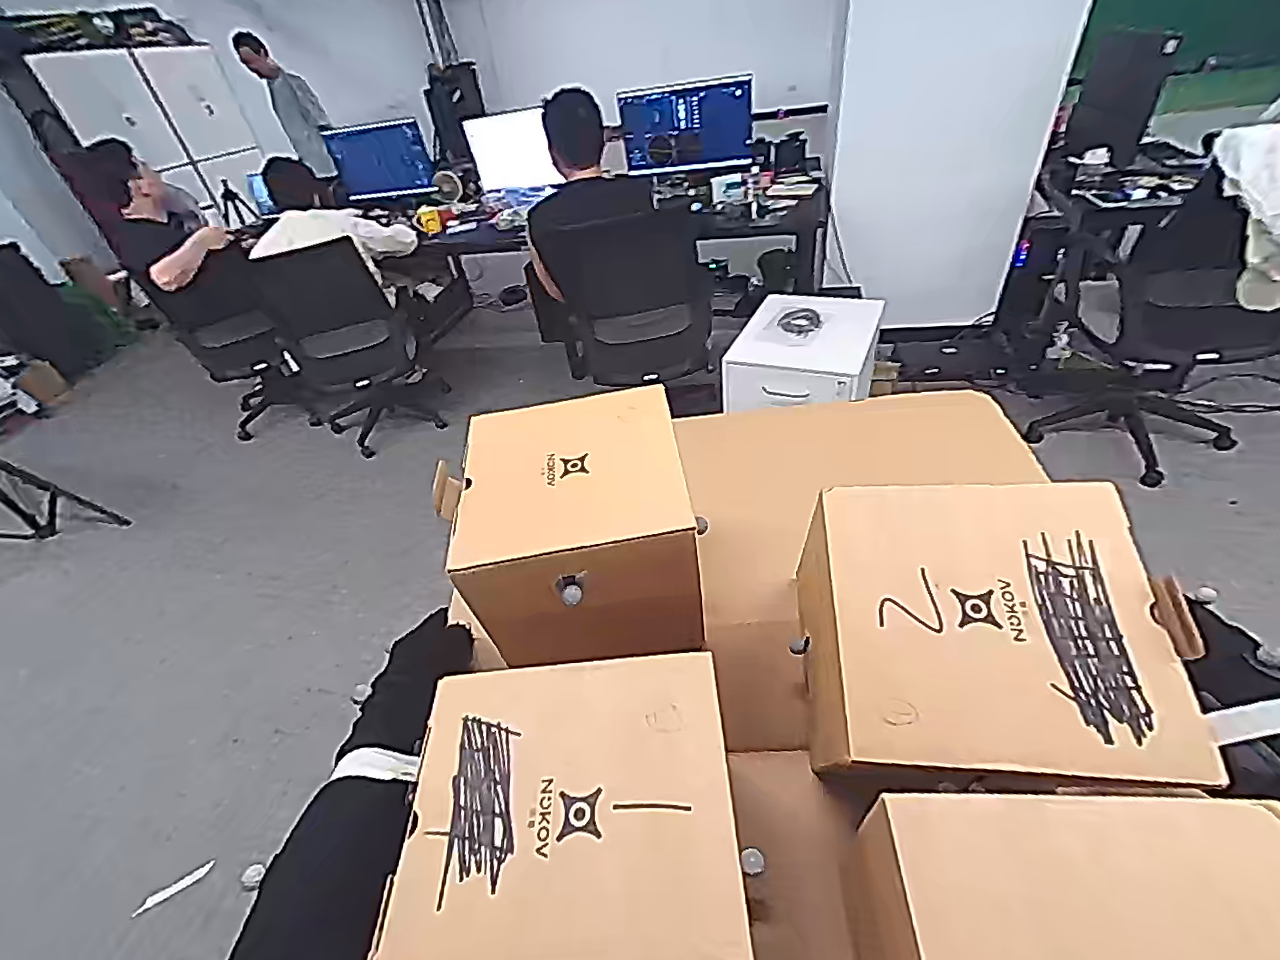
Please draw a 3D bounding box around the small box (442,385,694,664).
[{"bbox_3d":[-0.050,0.043,0.484,0.179,0.176,0.168,-11,46,2],"label":"small box"}]
